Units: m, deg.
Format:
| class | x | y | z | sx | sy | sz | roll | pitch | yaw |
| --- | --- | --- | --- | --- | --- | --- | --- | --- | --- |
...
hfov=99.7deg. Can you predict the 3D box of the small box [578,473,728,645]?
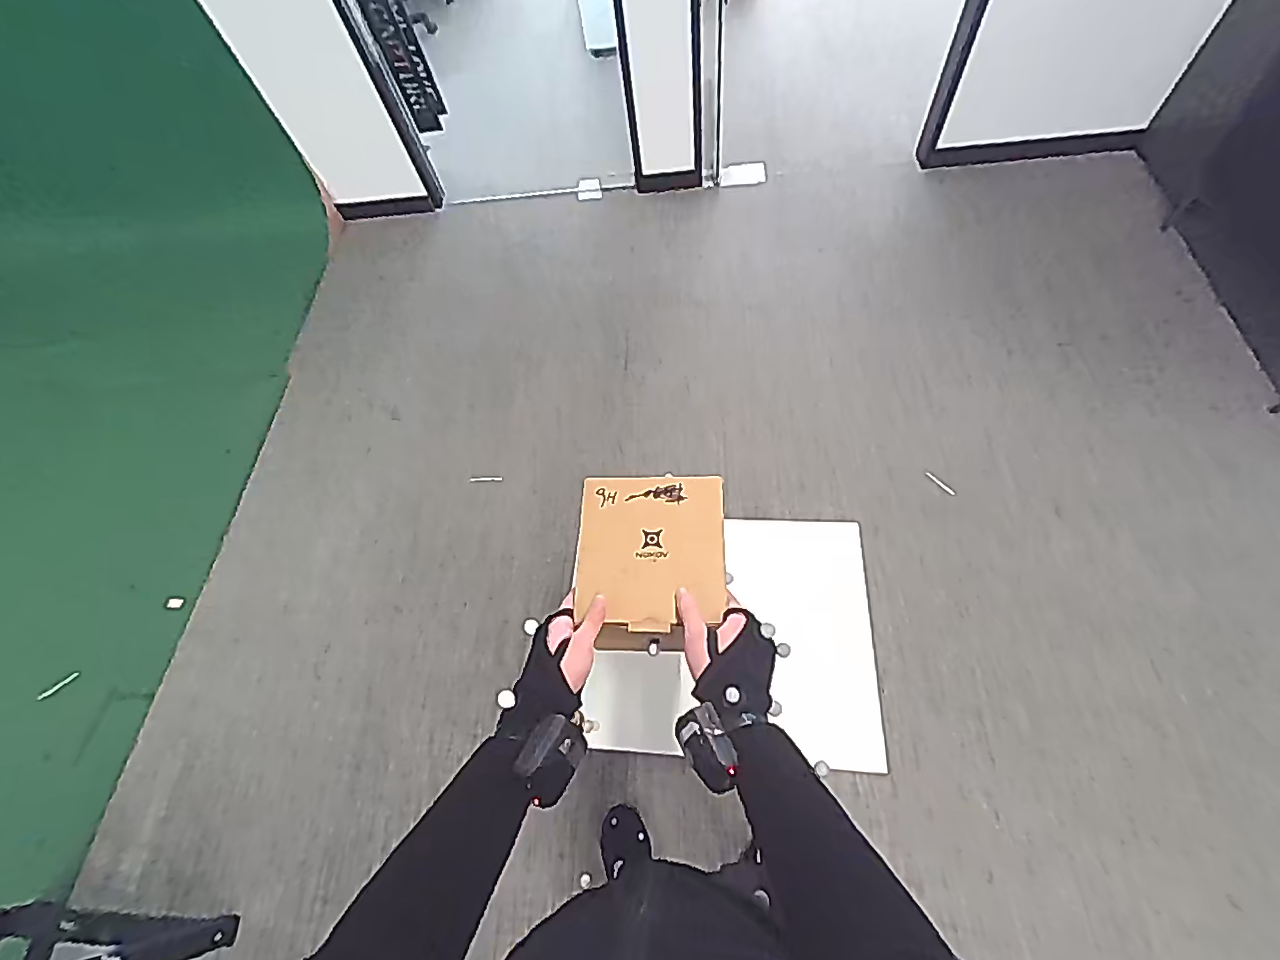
| class | x | y | z | sx | sy | sz | roll | pitch | yaw |
| --- | --- | --- | --- | --- | --- | --- | --- | --- | --- |
| small box | 0.021 | 0.108 | 0.682 | 0.168 | 0.176 | 0.179 | -3 | 63 | 4 |
